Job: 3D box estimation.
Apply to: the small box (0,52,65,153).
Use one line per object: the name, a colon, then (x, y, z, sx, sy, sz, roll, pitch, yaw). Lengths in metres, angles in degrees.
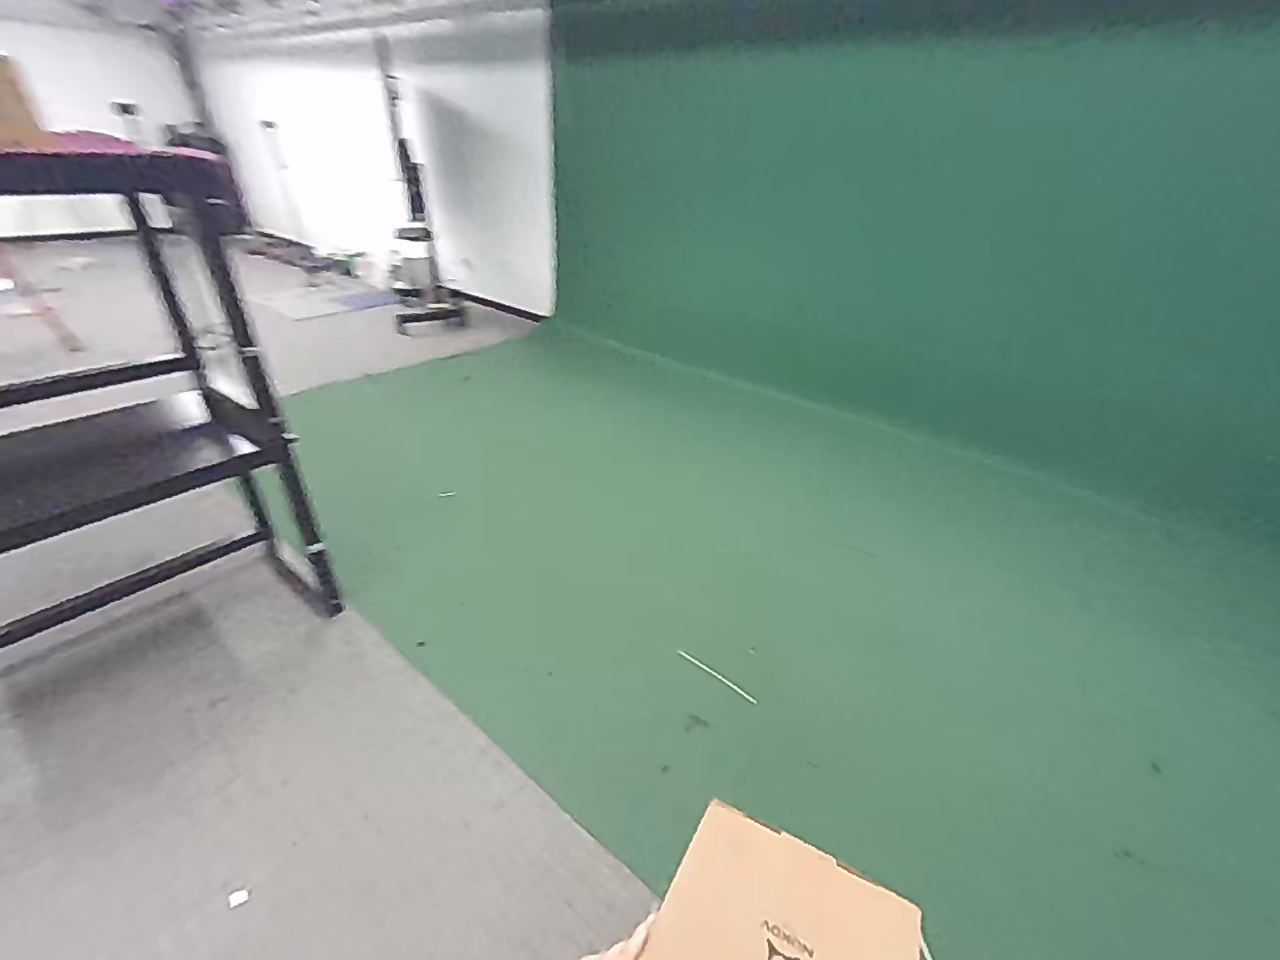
small box: (-1.327, -0.767, 1.096, 0.179, 0.176, 0.168, 27, 39, 30)
